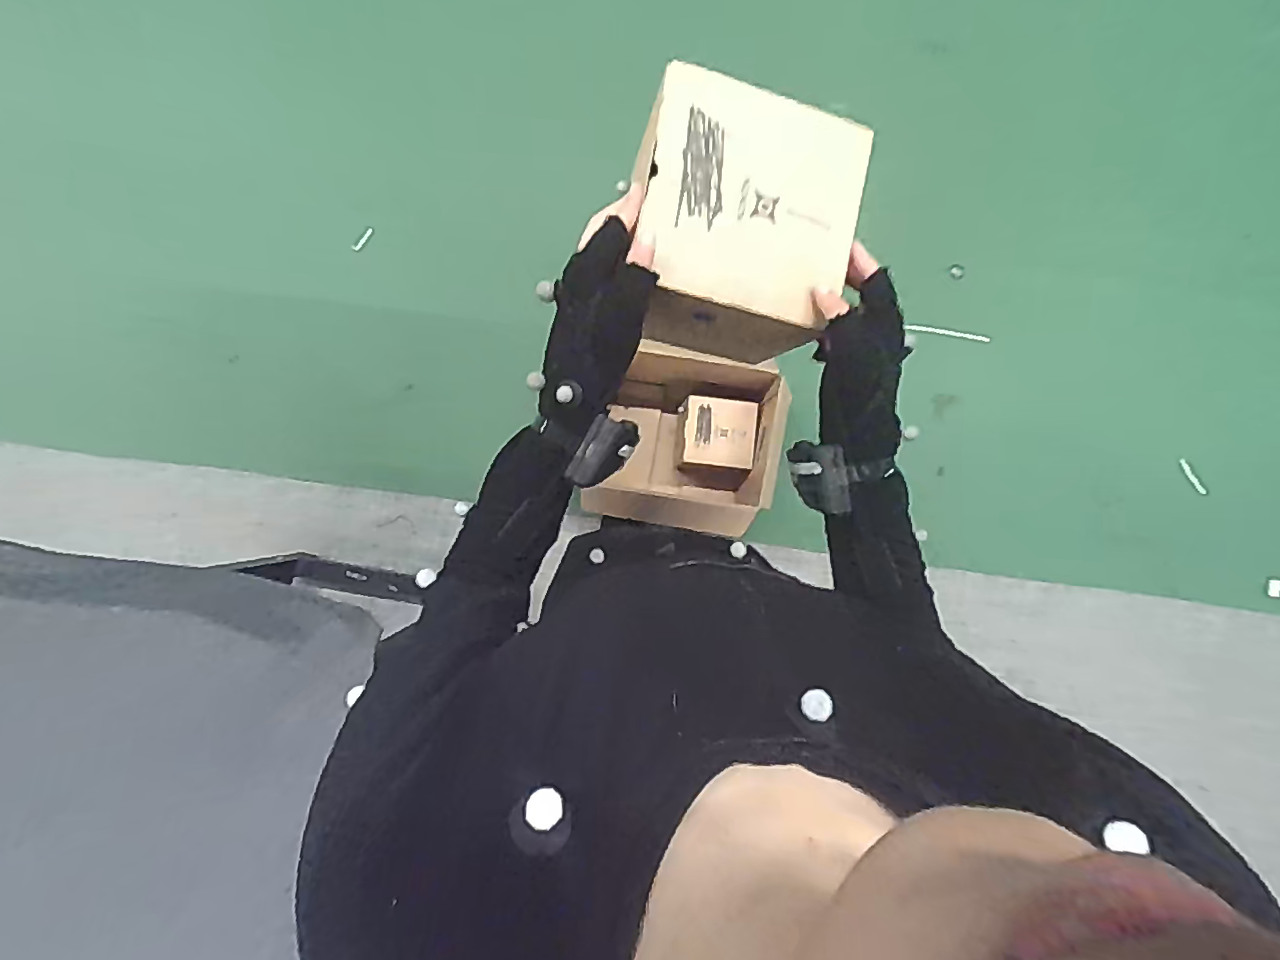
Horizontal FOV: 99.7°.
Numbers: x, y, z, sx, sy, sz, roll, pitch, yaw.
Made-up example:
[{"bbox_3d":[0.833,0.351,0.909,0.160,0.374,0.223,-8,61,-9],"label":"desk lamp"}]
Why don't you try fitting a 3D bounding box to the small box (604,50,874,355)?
[{"bbox_3d":[0.071,-0.221,0.486,0.179,0.176,0.168,11,91,-11],"label":"small box"}]
